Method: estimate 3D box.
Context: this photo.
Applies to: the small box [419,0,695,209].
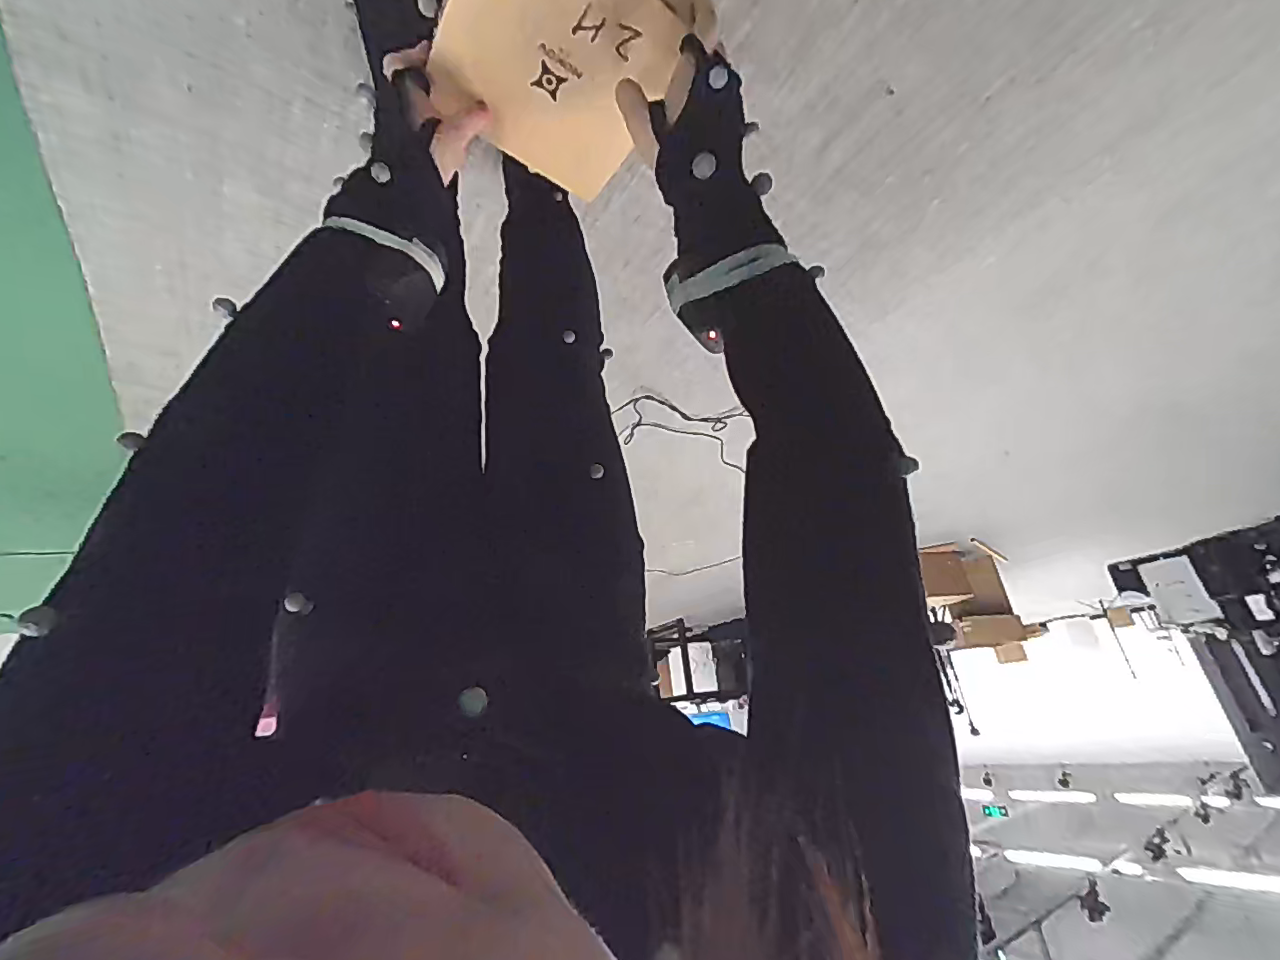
[{"bbox_3d":[-0.065,-0.386,0.458,0.168,0.176,0.179,18,153,-31],"label":"small box"}]
